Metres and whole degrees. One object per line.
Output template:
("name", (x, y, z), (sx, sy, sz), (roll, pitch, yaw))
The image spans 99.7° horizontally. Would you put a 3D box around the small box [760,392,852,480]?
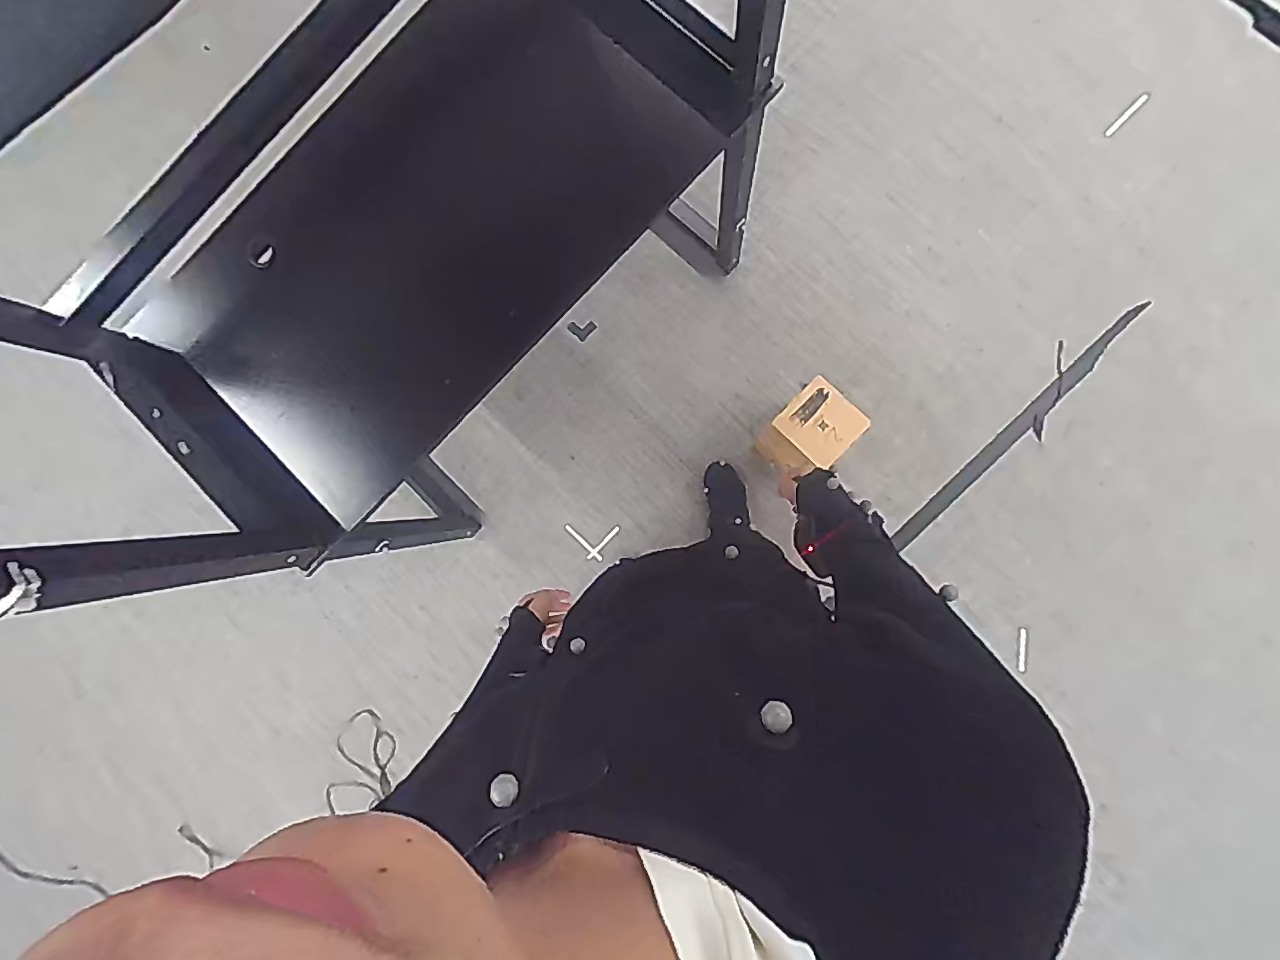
("small box", (0.455, -0.117, 1.521), (0.168, 0.176, 0.179), (43, 93, 6))
